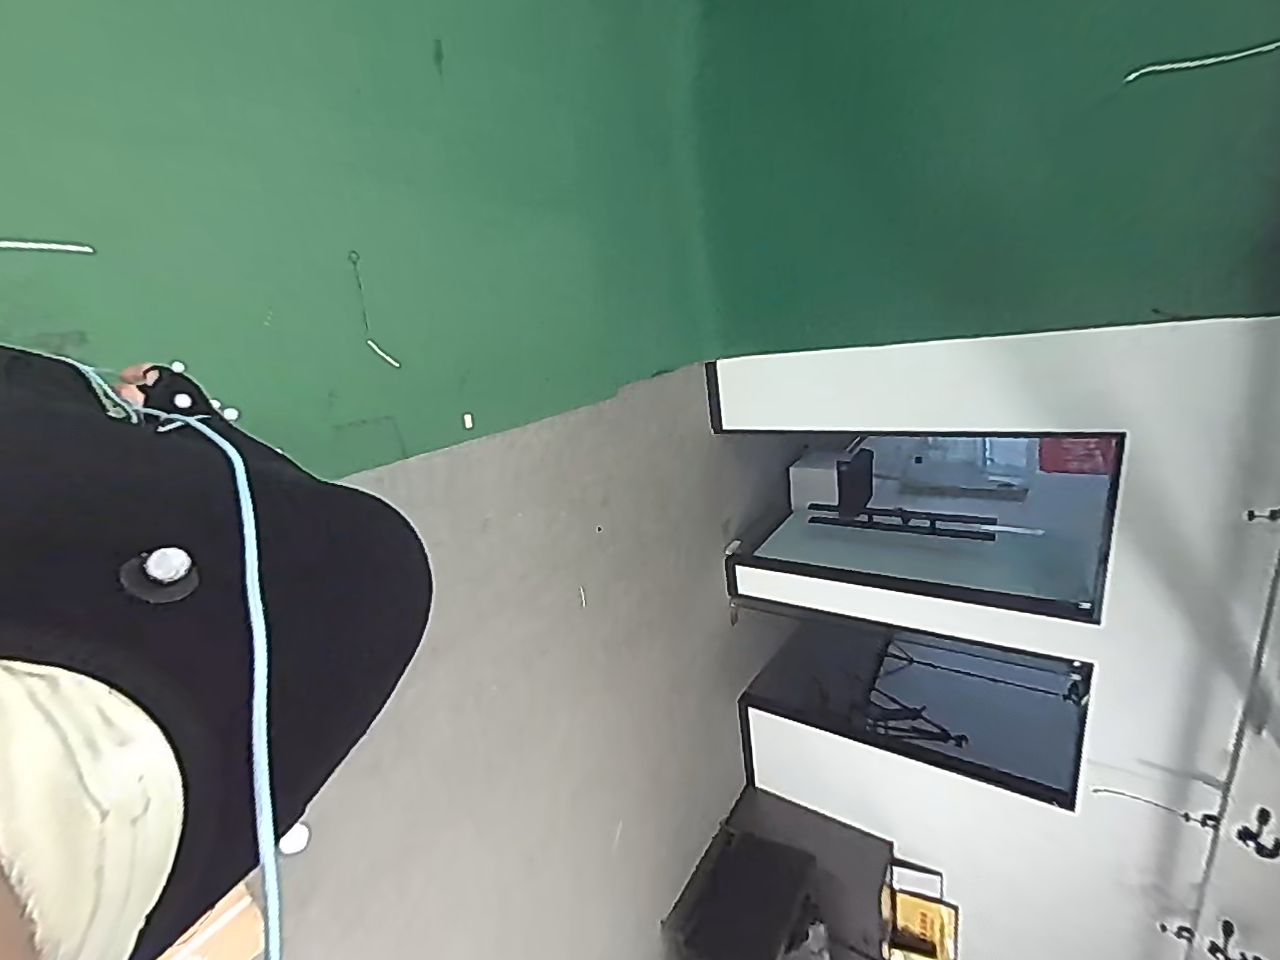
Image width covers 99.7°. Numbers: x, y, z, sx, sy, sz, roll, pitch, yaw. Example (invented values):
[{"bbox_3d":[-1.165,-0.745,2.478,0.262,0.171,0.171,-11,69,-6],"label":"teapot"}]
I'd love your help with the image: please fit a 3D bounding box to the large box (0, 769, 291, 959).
[{"bbox_3d":[-1.106,0.957,1.210,0.408,0.320,0.320,-31,119,-49],"label":"large box"}]
